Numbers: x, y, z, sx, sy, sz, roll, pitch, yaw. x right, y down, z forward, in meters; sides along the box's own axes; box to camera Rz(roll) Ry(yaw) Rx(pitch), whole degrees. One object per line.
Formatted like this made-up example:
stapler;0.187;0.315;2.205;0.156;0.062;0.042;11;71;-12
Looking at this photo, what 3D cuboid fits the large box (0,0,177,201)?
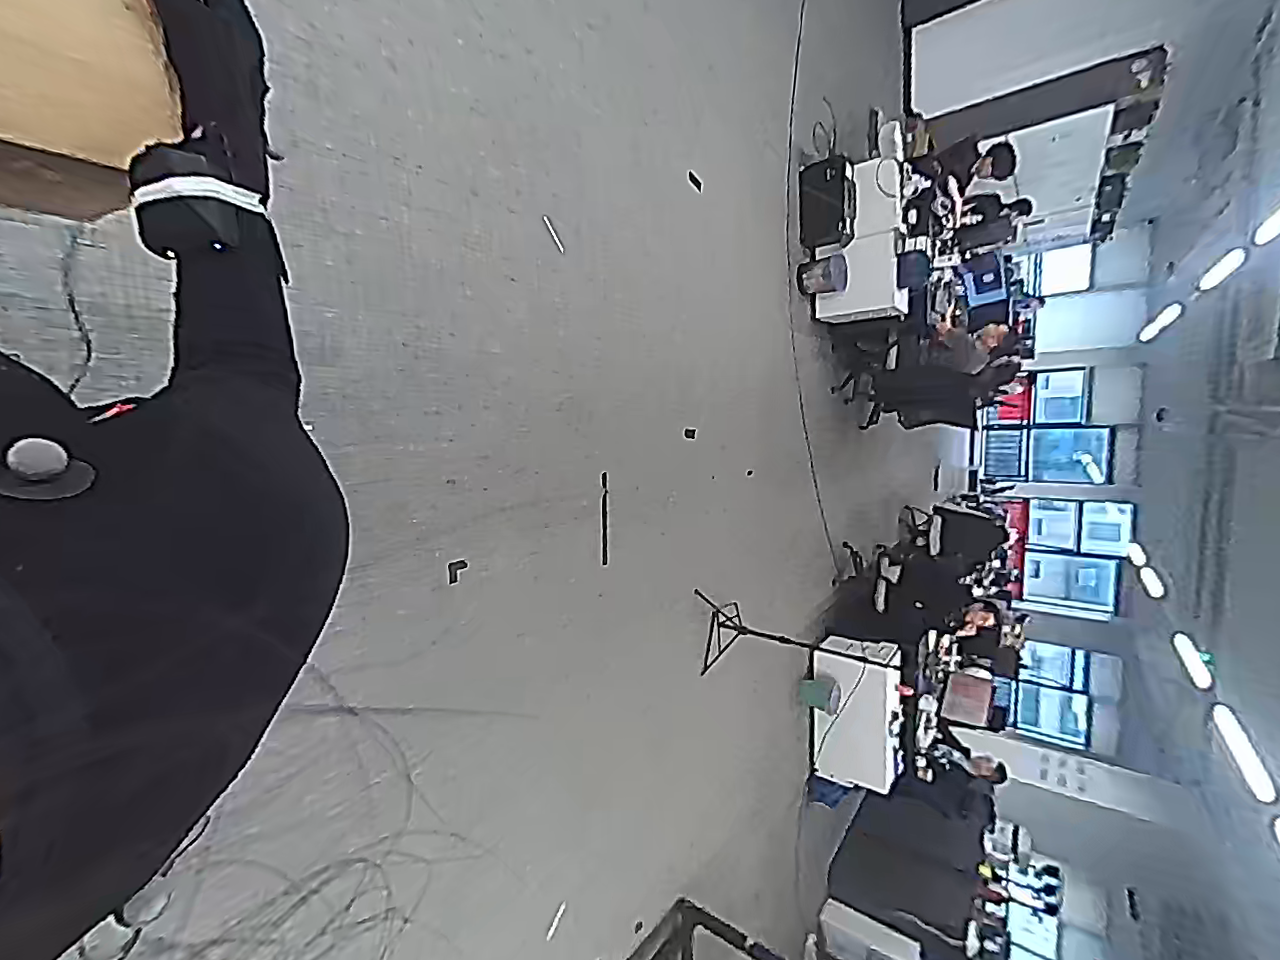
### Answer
large box;-0.581;-0.389;0.307;0.408;0.320;0.320;-12;112;-54
